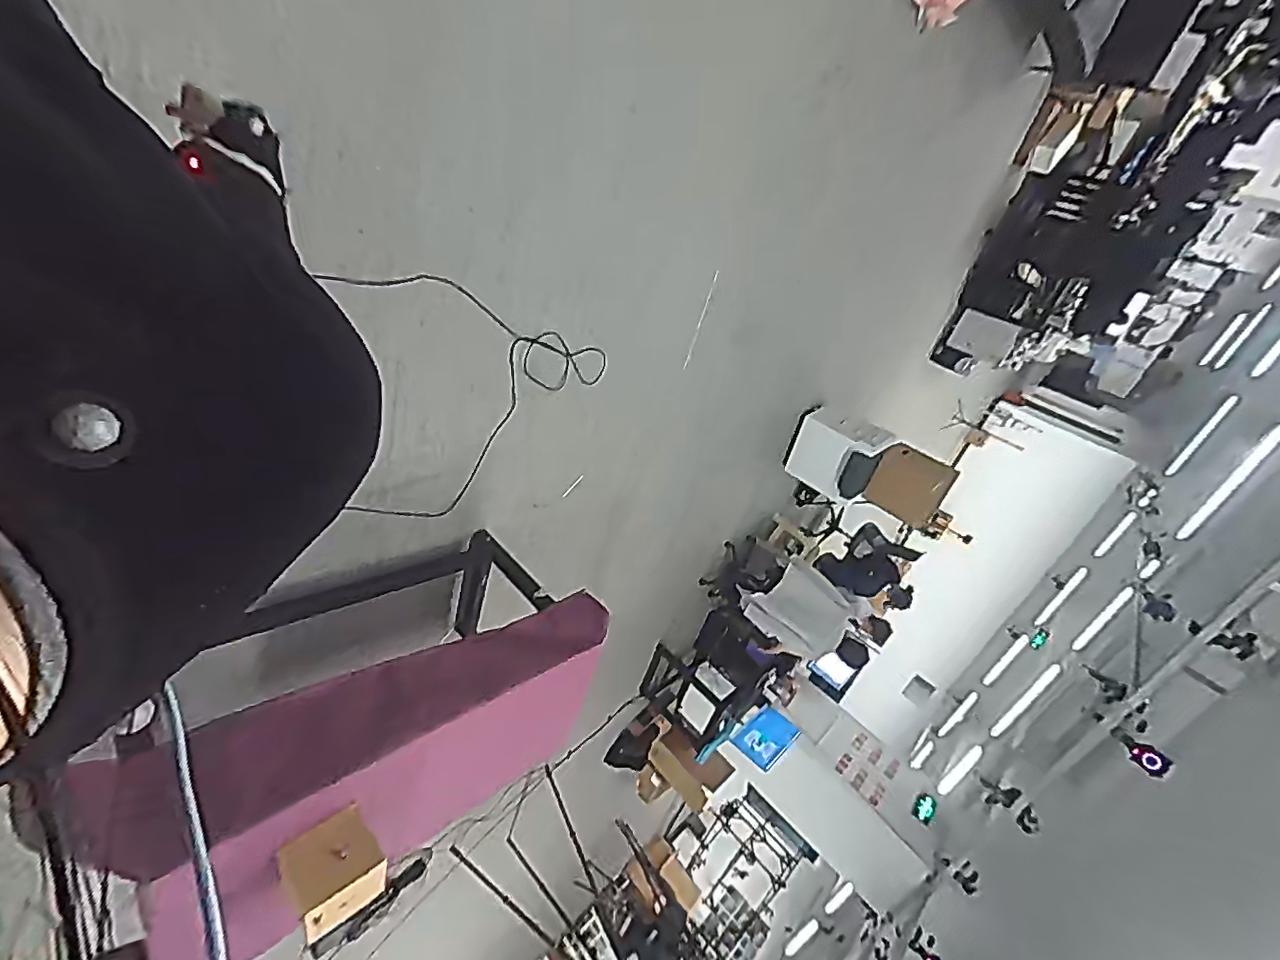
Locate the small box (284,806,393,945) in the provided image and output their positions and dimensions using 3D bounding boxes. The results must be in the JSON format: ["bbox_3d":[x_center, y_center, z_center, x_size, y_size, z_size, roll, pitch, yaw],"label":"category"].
[{"bbox_3d":[-0.714,0.926,1.282,0.179,0.176,0.168,-17,134,-45],"label":"small box"}]
